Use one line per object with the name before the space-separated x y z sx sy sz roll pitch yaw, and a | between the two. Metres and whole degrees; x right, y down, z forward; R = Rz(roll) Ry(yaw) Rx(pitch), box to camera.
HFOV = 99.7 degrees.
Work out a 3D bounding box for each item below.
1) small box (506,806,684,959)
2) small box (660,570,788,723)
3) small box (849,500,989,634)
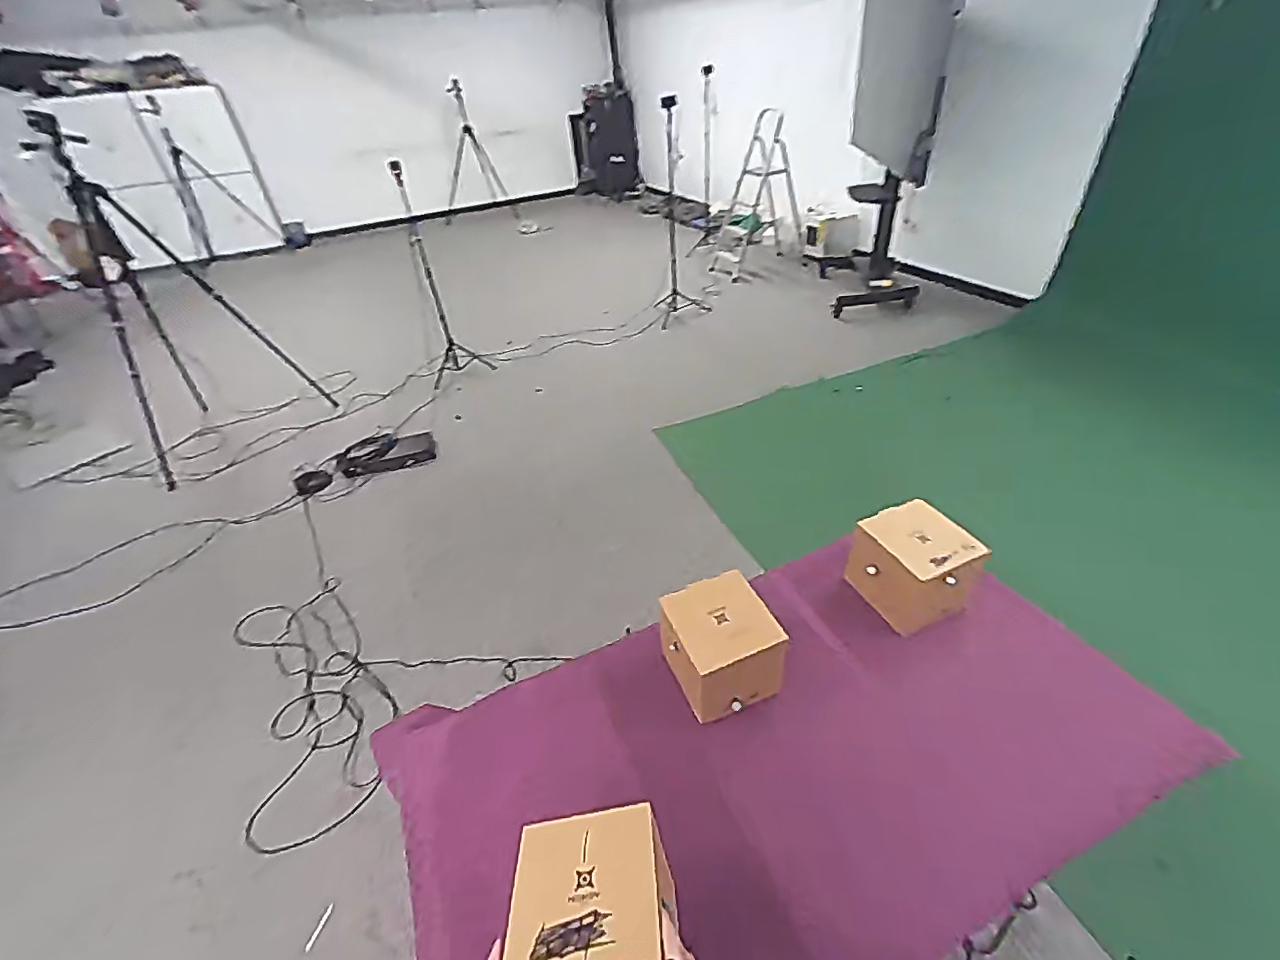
small box | -0.042 0.525 0.624 0.168 0.176 0.179 -12 21 2
small box | 0.146 0.302 0.987 0.168 0.176 0.179 -17 40 -14
small box | 0.550 0.175 1.095 0.168 0.176 0.179 -19 39 -15
